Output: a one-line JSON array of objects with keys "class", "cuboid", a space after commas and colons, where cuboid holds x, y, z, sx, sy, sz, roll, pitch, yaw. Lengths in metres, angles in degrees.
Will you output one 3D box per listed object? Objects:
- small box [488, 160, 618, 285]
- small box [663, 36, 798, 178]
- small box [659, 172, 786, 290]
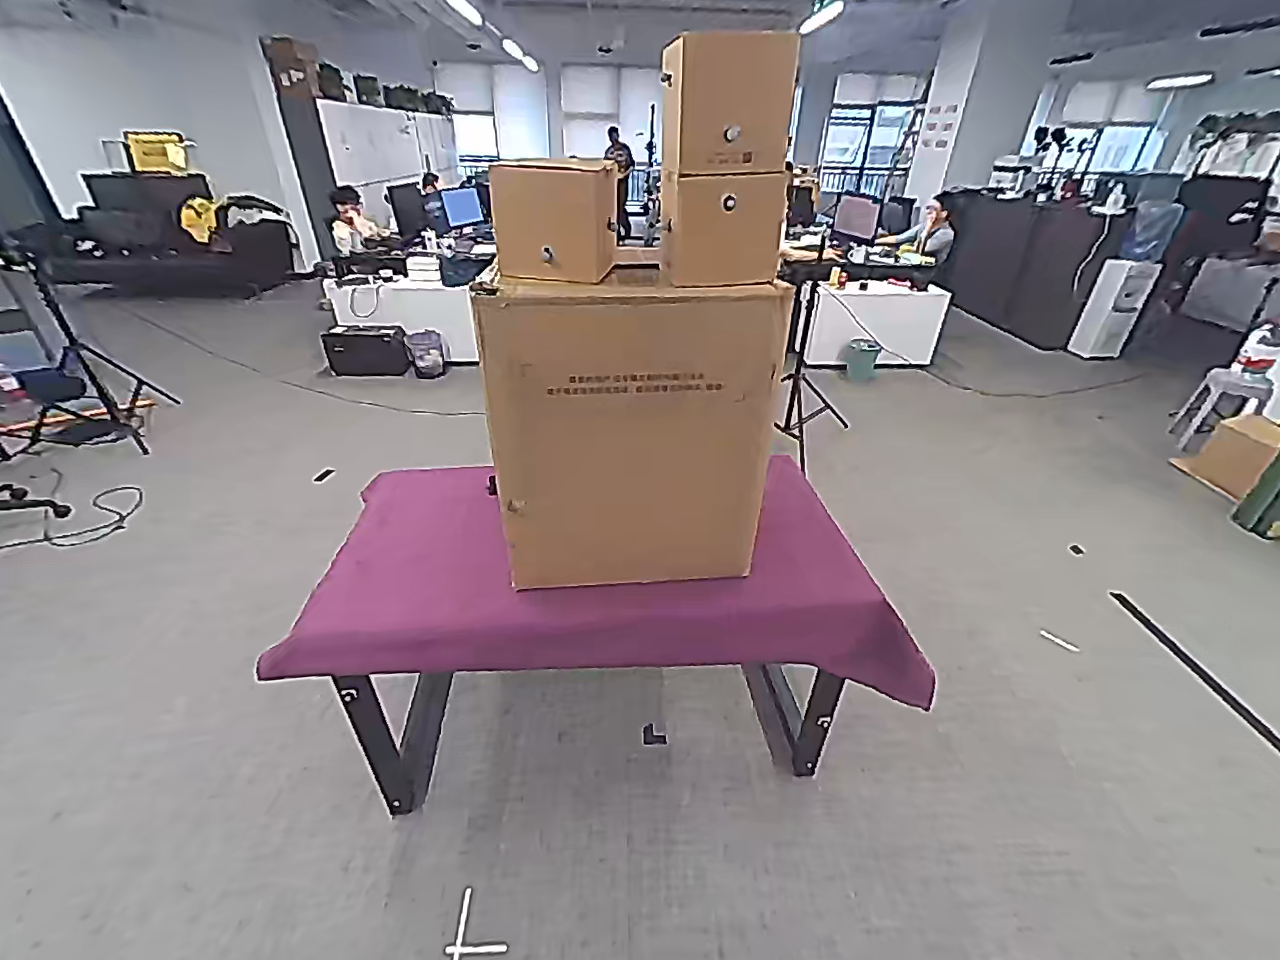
[{"class": "small box", "cuboid": [-0.139, -0.442, 0.929, 0.179, 0.176, 0.168, 7, 34, 7]}, {"class": "small box", "cuboid": [0.126, -0.569, 0.839, 0.168, 0.176, 0.179, -5, 34, -5]}, {"class": "small box", "cuboid": [0.131, -0.429, 0.926, 0.179, 0.176, 0.168, -4, 33, -6]}]
